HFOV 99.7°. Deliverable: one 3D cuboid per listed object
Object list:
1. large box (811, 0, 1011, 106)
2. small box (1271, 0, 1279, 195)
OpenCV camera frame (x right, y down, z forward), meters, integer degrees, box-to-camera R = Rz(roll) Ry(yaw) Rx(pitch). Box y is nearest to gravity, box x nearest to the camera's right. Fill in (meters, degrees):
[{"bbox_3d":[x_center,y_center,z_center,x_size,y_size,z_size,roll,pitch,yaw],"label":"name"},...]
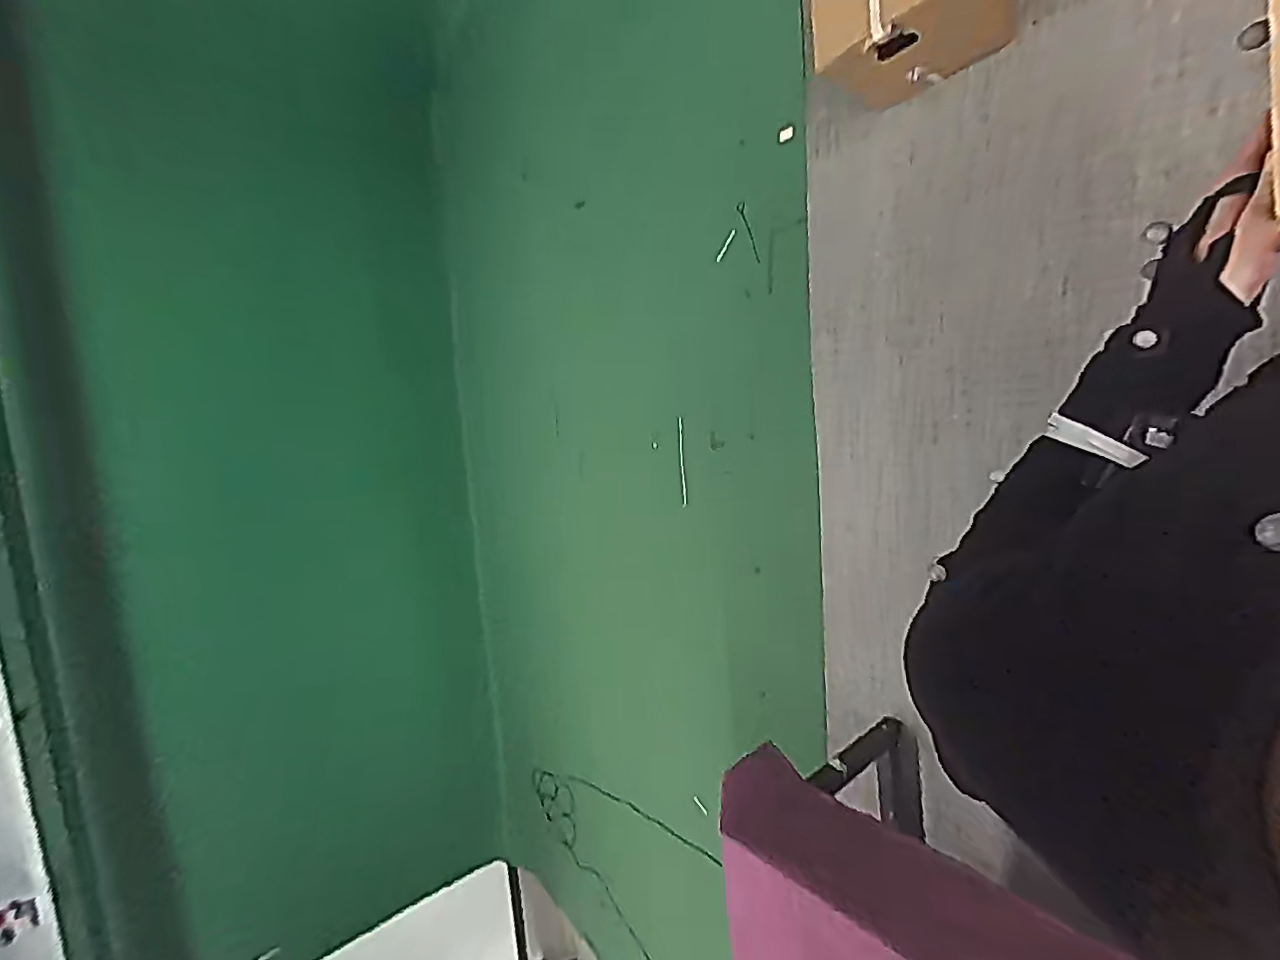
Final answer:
[{"bbox_3d":[0.608,-1.178,1.231,0.320,0.320,0.408,2,98,52],"label":"large box"},{"bbox_3d":[0.422,-0.247,0.247,0.168,0.176,0.179,1,108,54],"label":"small box"}]
